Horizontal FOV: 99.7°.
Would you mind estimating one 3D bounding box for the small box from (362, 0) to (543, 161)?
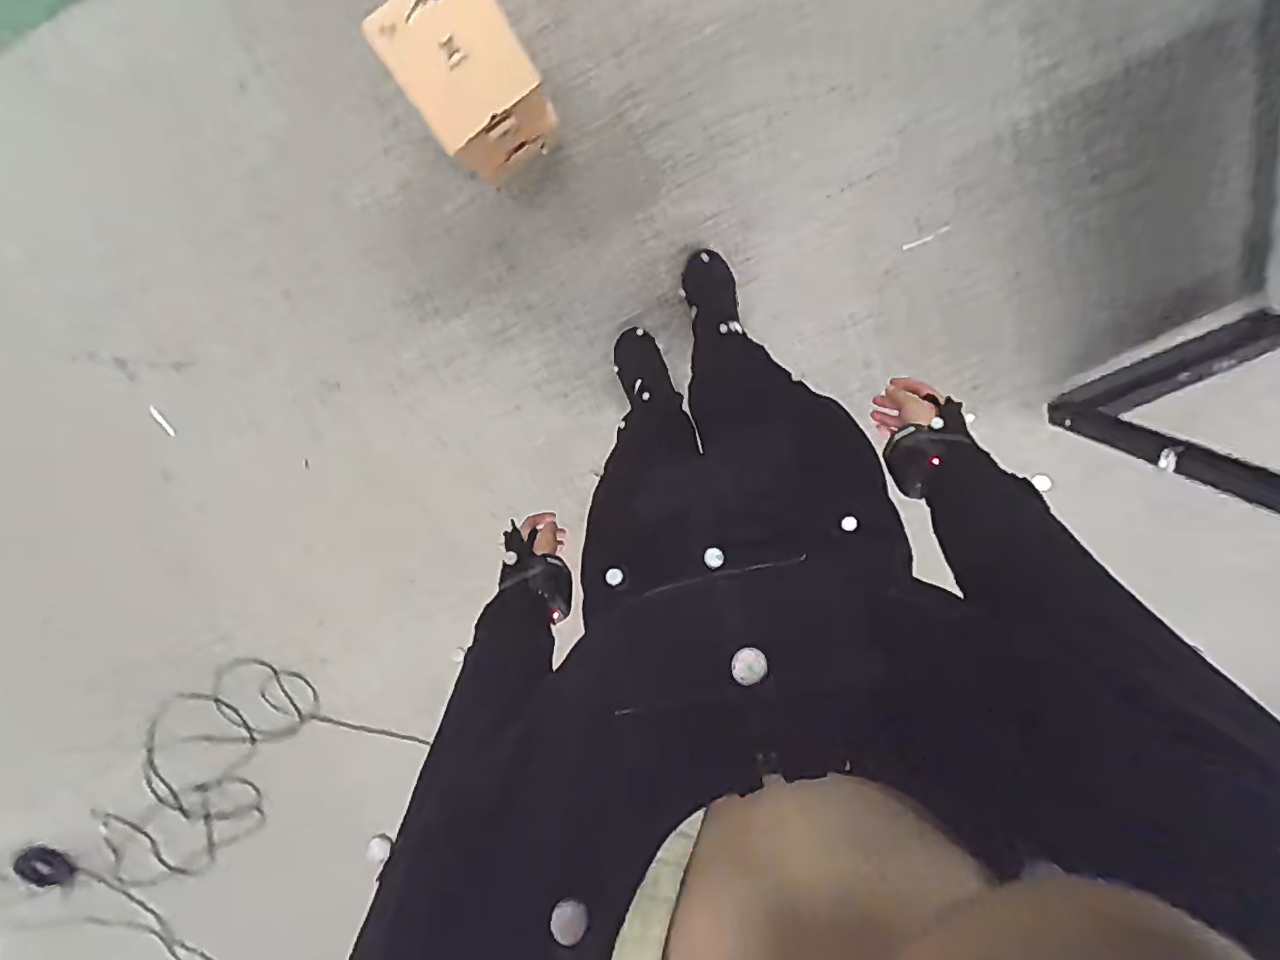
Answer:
[{"bbox_3d":[-0.258,-0.598,0.796,0.168,0.176,0.179,-33,114,8],"label":"small box"}]

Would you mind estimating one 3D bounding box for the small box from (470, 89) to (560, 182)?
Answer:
[{"bbox_3d":[-0.254,-0.653,0.952,0.168,0.176,0.179,-32,112,7],"label":"small box"}]
